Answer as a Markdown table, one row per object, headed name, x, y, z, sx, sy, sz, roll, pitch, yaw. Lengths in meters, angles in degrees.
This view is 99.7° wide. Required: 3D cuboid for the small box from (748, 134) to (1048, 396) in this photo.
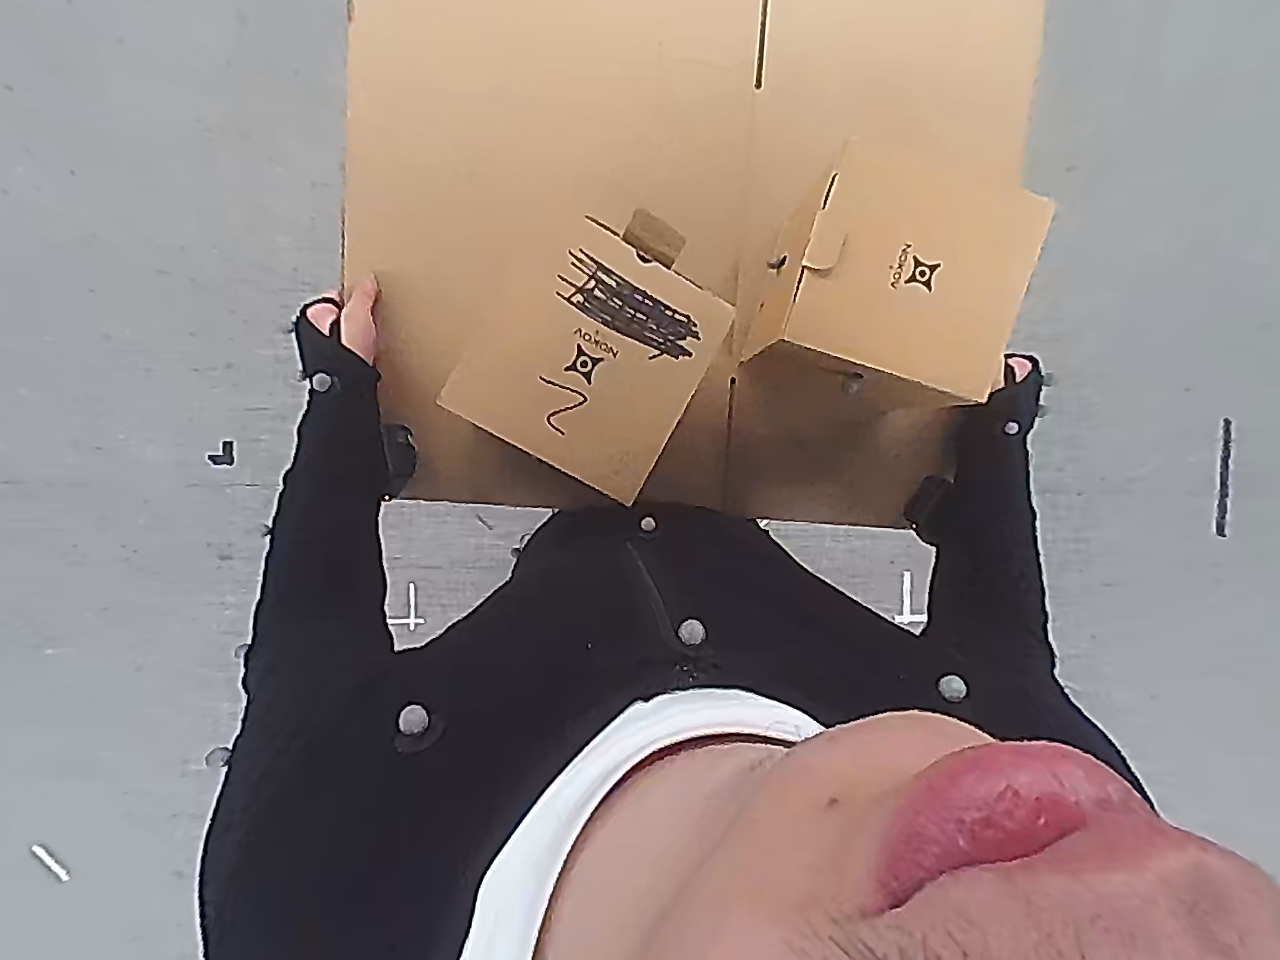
| name | x | y | z | sx | sy | sz | roll | pitch | yaw |
| --- | --- | --- | --- | --- | --- | --- | --- | --- | --- |
| small box | 0.222 | -0.182 | 0.517 | 0.179 | 0.176 | 0.168 | 17 | 95 | -1 |
